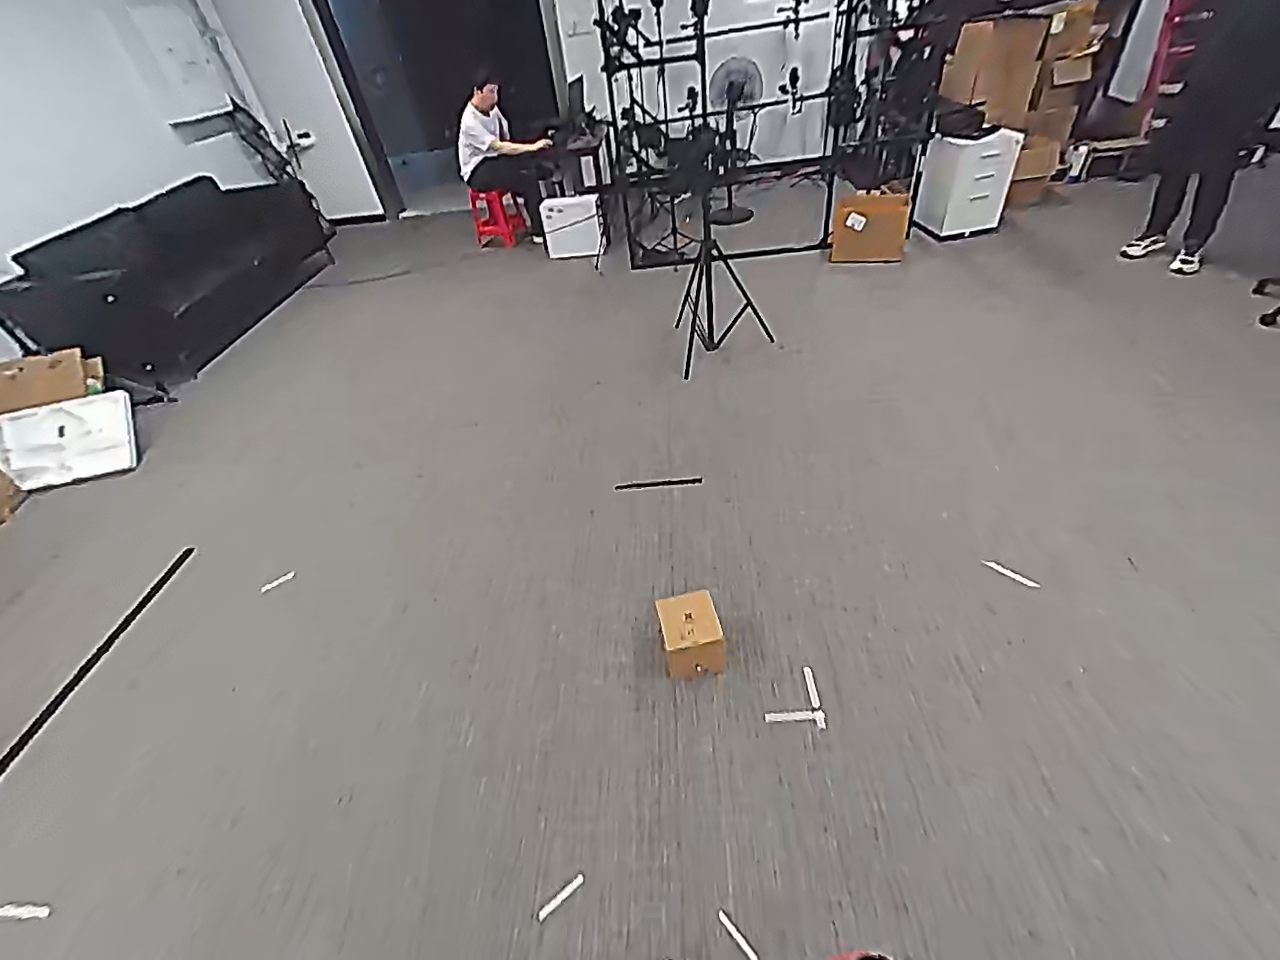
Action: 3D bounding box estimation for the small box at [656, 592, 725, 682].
[{"bbox_3d":[0.148,0.464,1.600,0.168,0.176,0.179,-12,41,-3],"label":"small box"}]
